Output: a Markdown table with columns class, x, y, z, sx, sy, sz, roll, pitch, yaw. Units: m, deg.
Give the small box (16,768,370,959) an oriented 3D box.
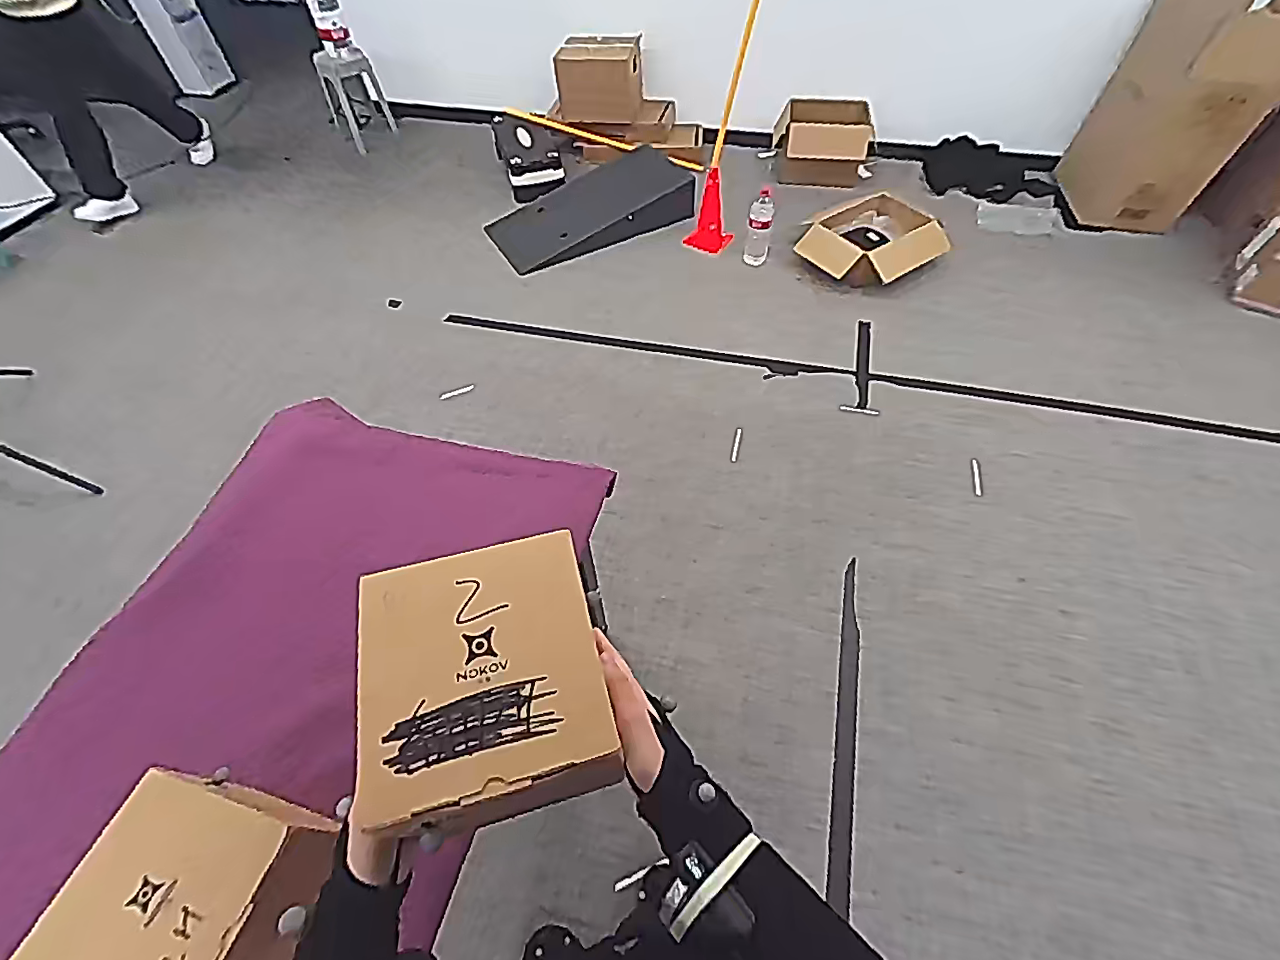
| class | x | y | z | sx | sy | sz | roll | pitch | yaw |
| --- | --- | --- | --- | --- | --- | --- | --- | --- | --- |
| small box | -0.418 | 0.415 | 0.540 | 0.179 | 0.176 | 0.168 | 12 | 56 | 11 |
